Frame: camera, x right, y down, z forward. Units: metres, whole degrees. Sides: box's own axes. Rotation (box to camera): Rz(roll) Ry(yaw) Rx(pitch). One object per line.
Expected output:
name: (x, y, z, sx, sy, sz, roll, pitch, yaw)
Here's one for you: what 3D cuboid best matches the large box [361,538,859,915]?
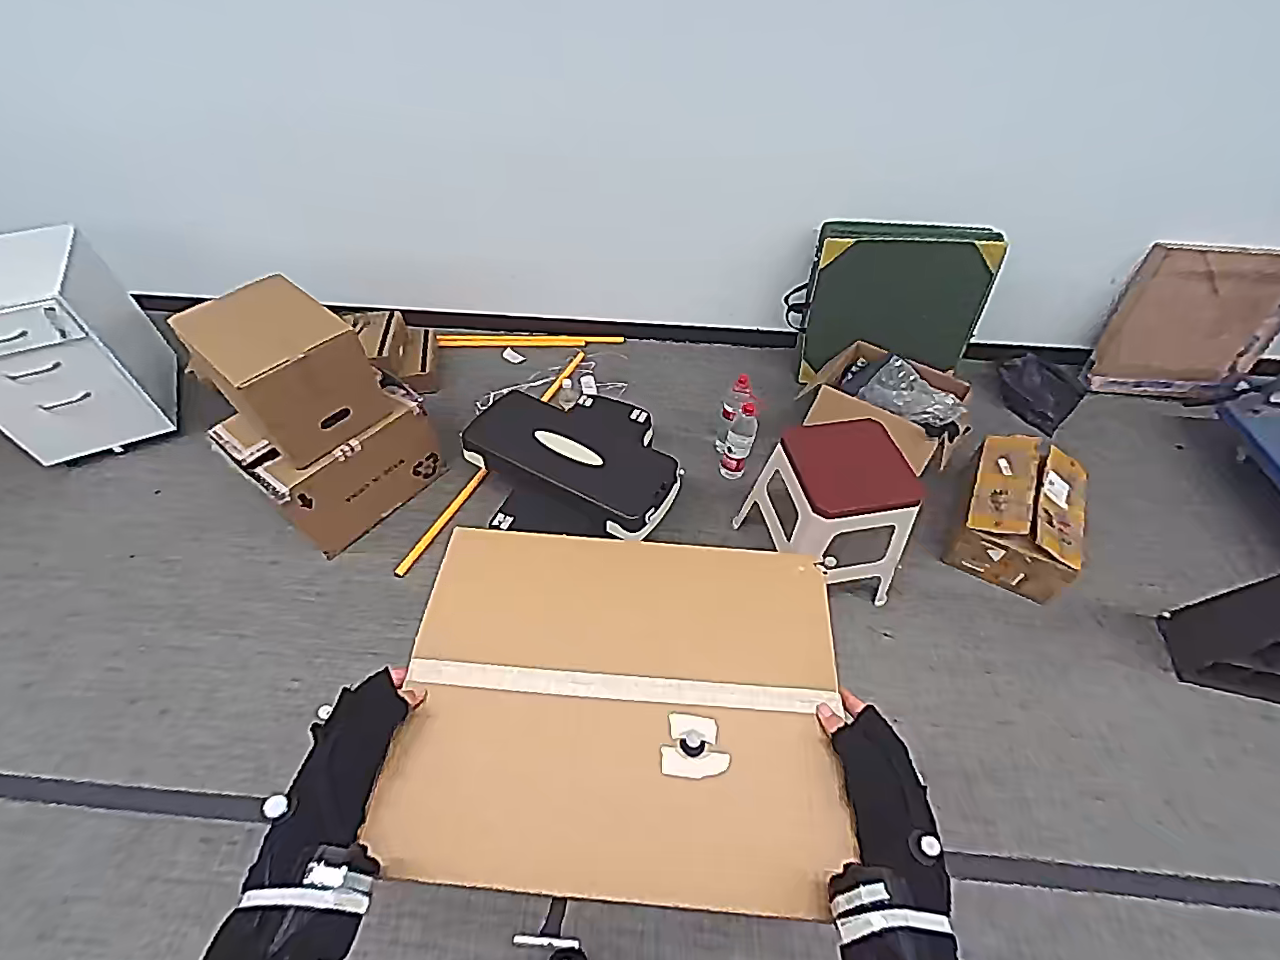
large box: (-0.020, 0.289, 0.630, 0.408, 0.320, 0.320, 5, 54, 2)
